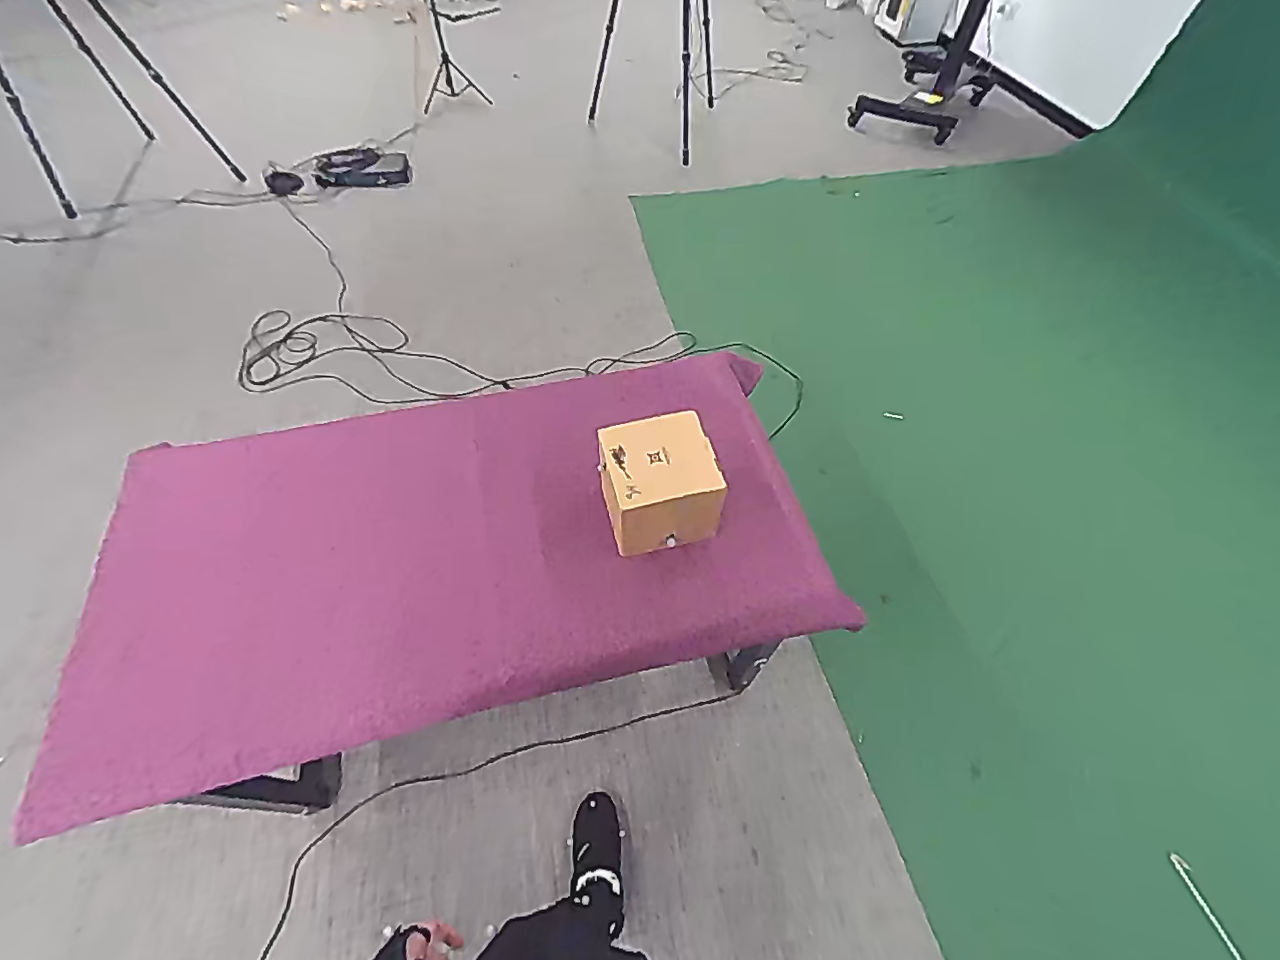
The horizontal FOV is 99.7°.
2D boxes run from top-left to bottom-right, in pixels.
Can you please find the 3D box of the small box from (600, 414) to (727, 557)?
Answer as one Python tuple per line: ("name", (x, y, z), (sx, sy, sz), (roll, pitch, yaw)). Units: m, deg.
("small box", (0.030, 0.013, 0.934), (0.179, 0.176, 0.168), (-11, 57, -10))
